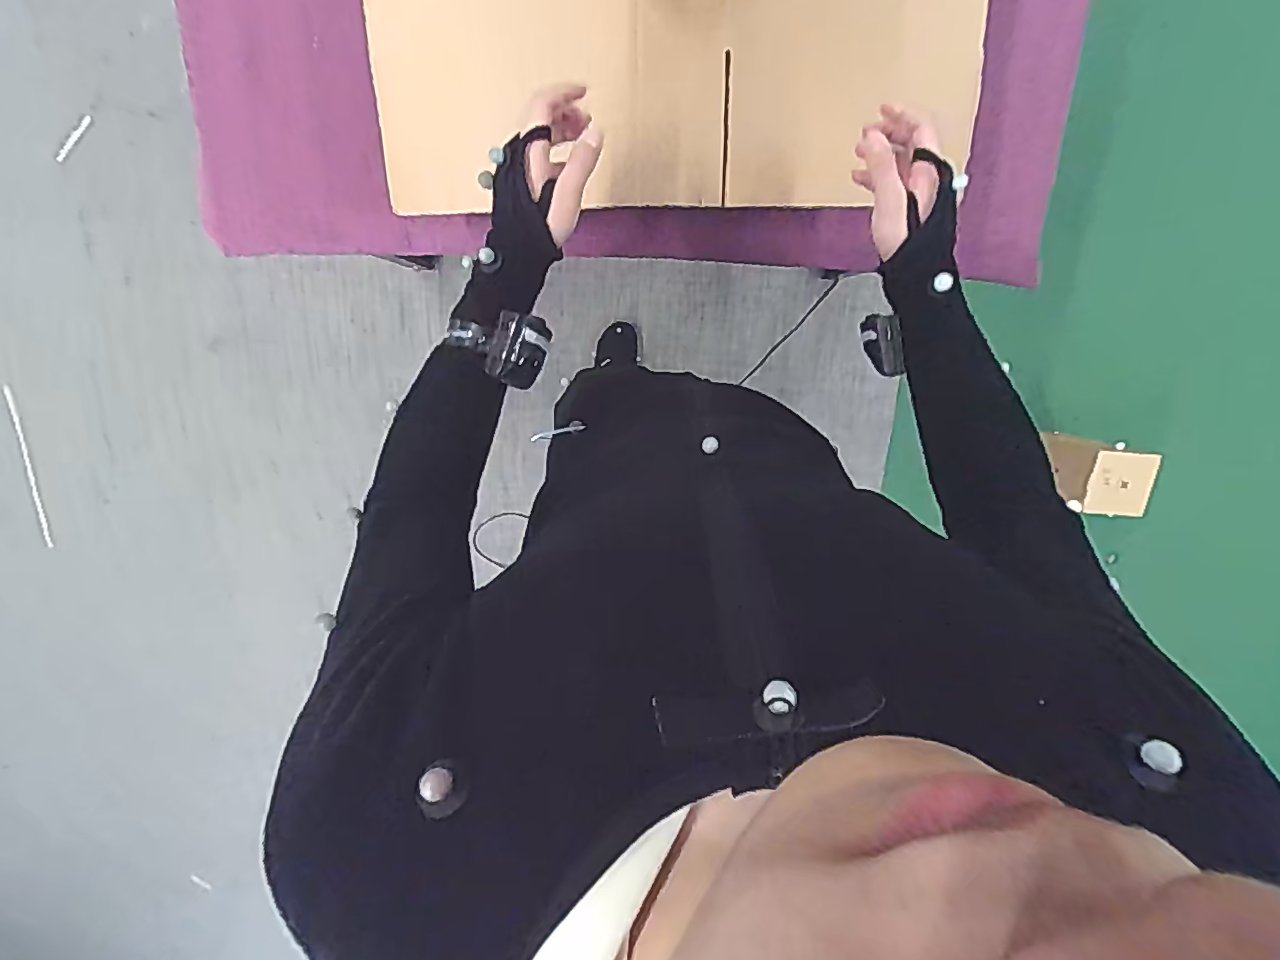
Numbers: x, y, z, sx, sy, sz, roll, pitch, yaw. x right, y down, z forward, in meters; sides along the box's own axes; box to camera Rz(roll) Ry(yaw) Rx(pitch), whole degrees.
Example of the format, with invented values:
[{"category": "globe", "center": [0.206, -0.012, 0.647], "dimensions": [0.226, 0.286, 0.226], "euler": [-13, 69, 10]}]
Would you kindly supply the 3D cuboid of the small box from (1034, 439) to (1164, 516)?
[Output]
[{"category": "small box", "center": [1.215, -0.011, 1.444], "dimensions": [0.179, 0.176, 0.168], "euler": [4, 104, -5]}]
